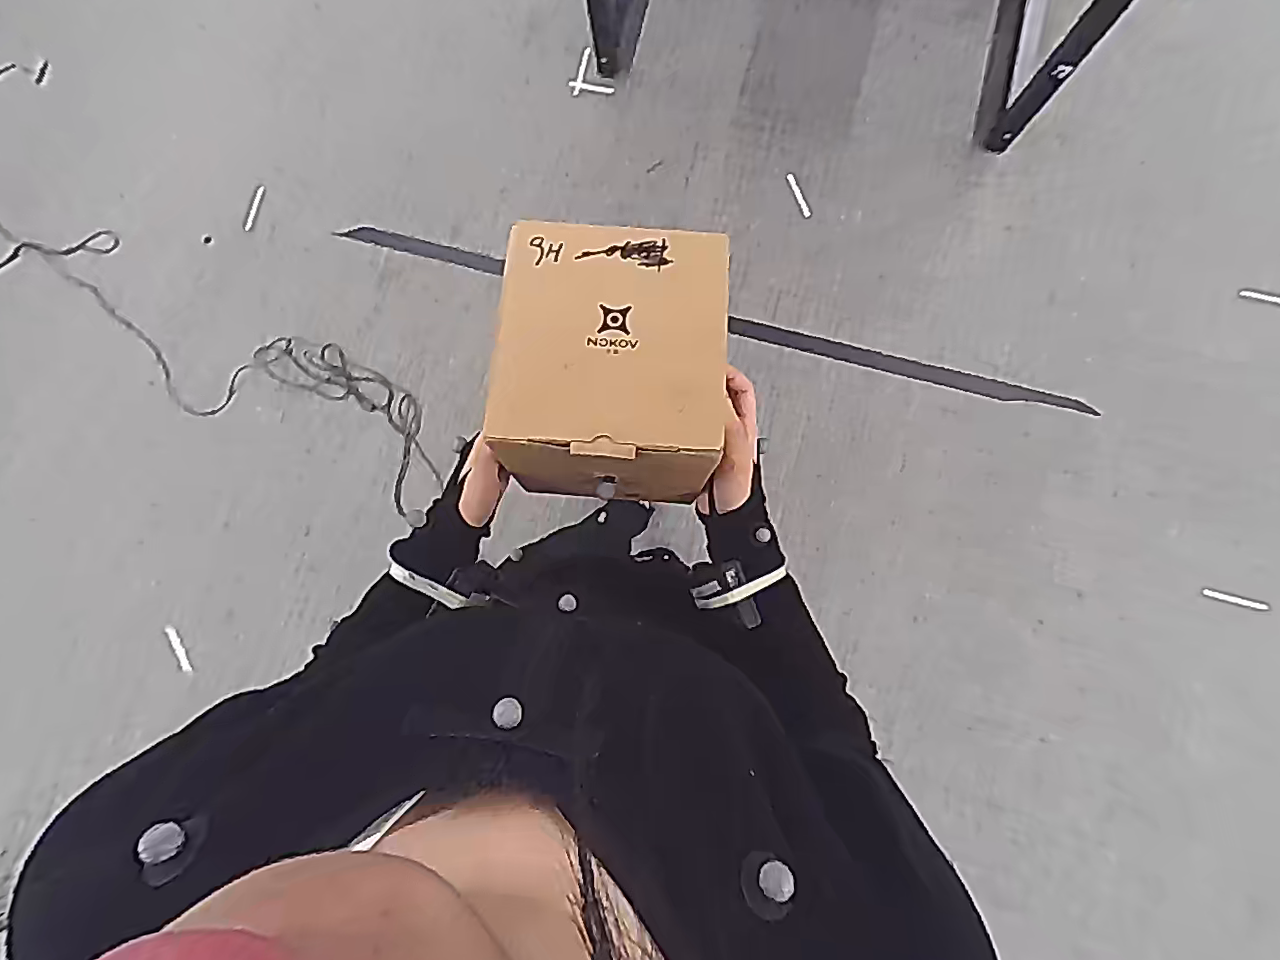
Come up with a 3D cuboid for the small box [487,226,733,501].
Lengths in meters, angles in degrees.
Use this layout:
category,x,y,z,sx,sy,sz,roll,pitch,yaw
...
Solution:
category,x,y,z,sx,sy,sz,roll,pitch,yaw
small box,-0.019,-0.083,0.463,0.168,0.176,0.179,4,77,-1
